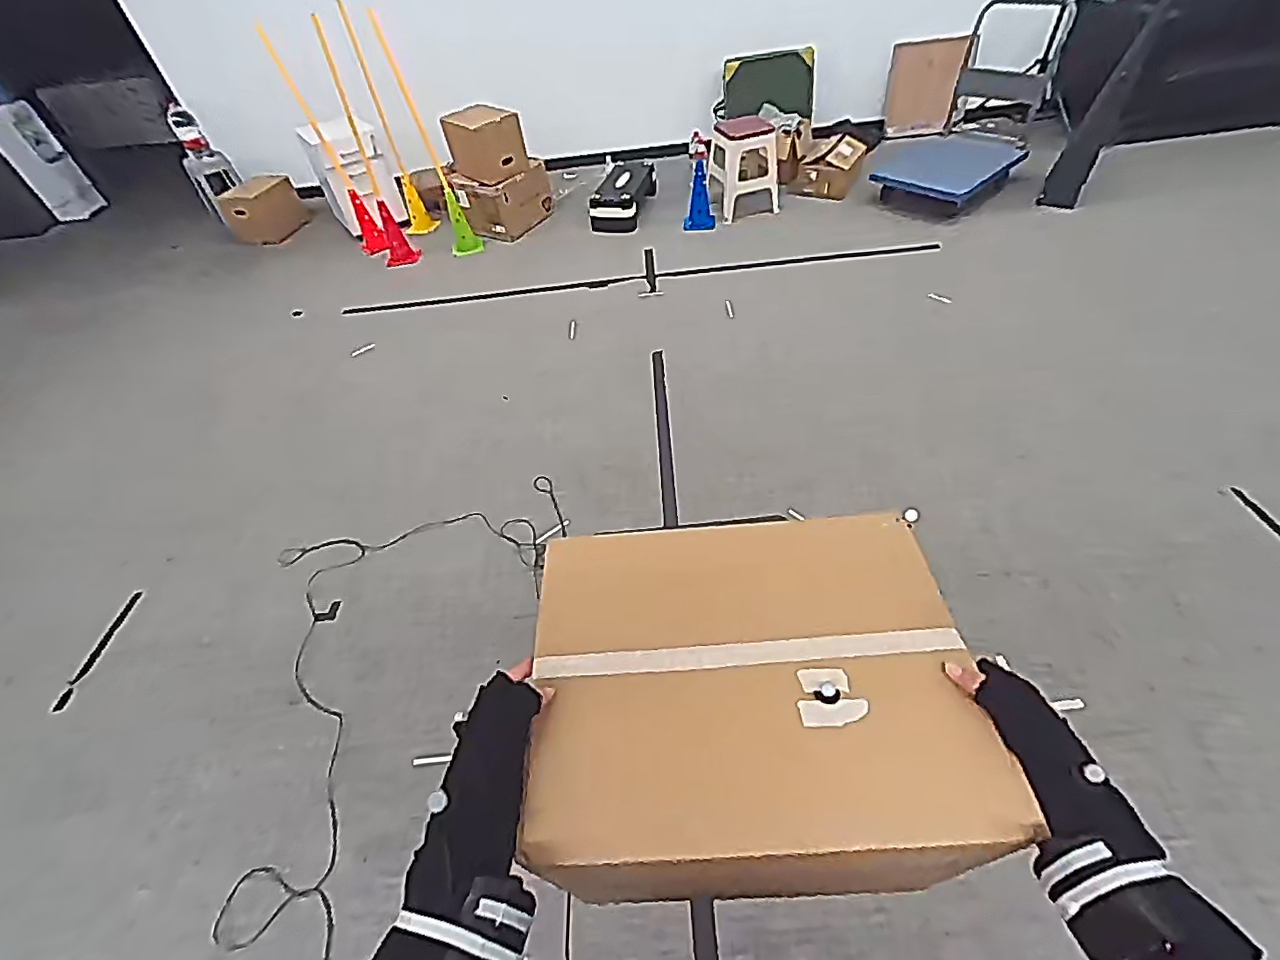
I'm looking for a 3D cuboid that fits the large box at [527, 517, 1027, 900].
[{"bbox_3d":[0.111,0.271,0.633,0.408,0.320,0.320,-4,47,3],"label":"large box"}]
